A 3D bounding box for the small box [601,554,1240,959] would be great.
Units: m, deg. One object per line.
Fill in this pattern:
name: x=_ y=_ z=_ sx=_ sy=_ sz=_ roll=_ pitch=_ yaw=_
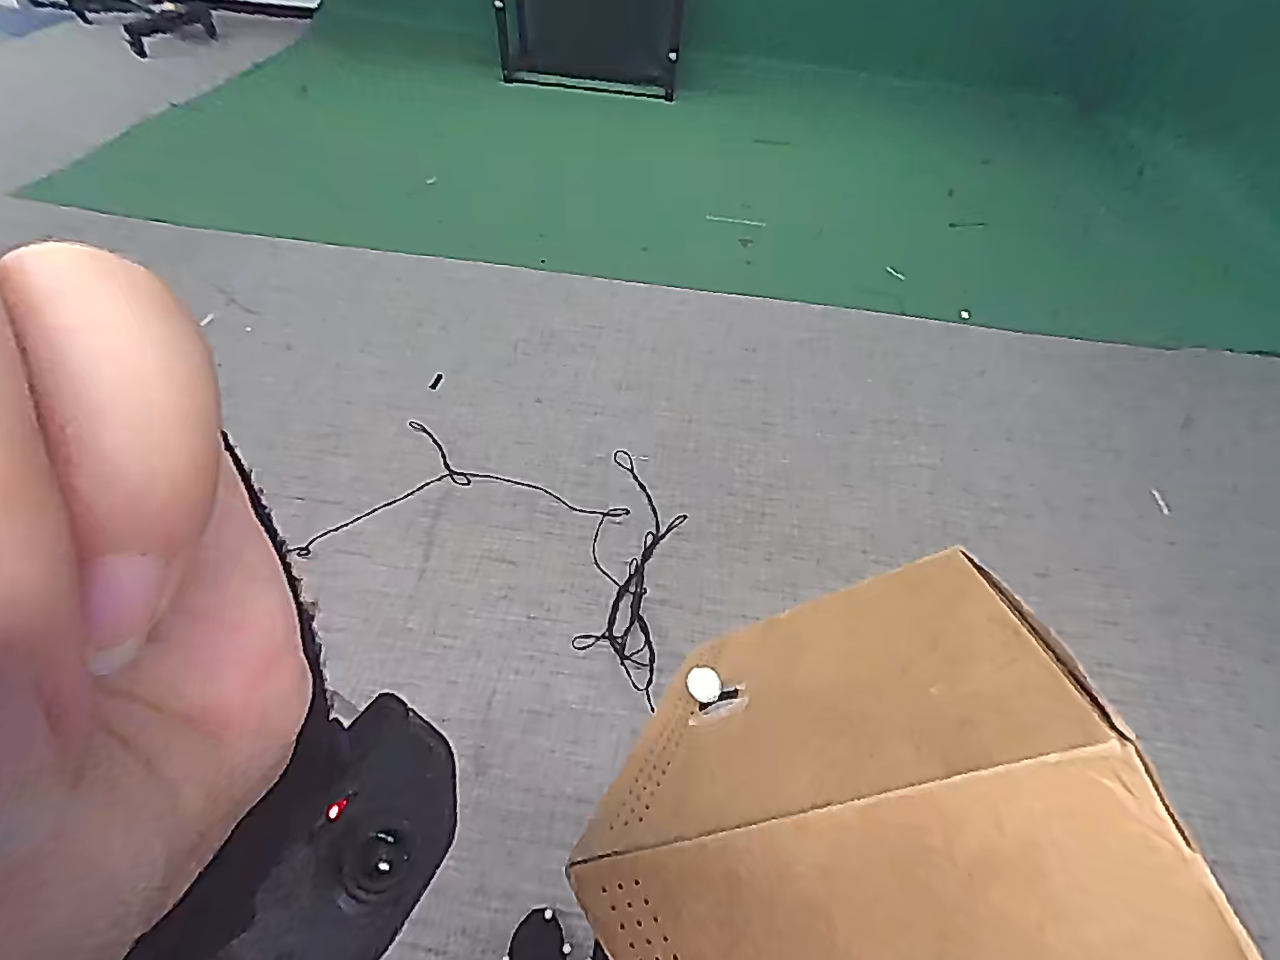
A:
small box: x=0.106 y=0.156 z=0.224 sx=0.176 sy=0.179 sz=0.168 roll=-29 pitch=87 yaw=21
